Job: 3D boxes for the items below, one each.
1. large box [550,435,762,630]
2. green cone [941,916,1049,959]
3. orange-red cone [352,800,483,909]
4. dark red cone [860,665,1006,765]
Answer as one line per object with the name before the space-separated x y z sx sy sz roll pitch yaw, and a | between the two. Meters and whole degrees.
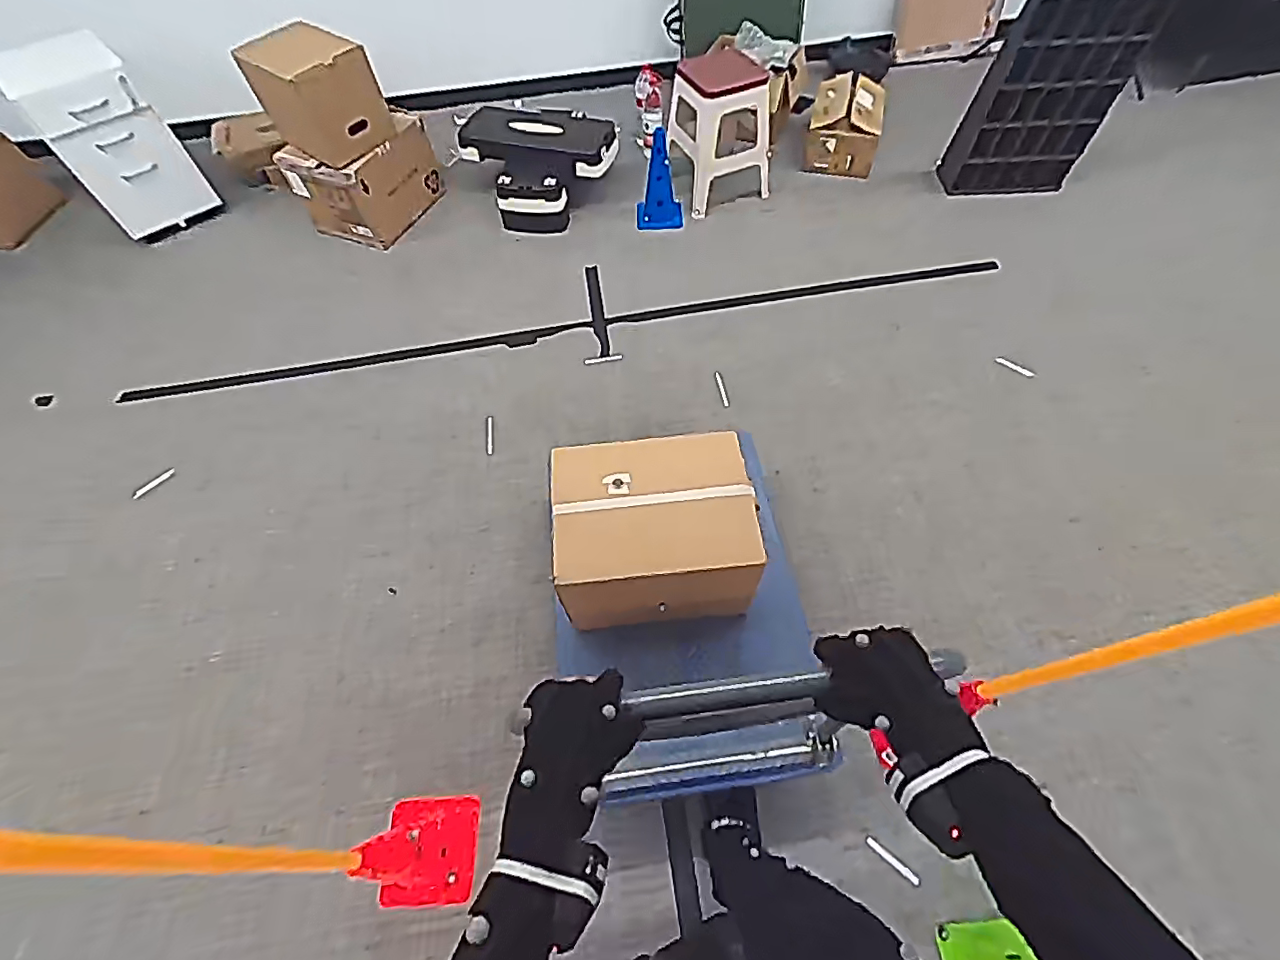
large box | 0.028 0.130 1.226 0.408 0.320 0.320 -7 58 0
green cone | 0.698 0.880 0.890 0.202 0.368 0.200 -5 58 -2
orange-red cone | -0.460 0.730 1.051 0.198 0.360 0.199 -2 56 1
dark red cone | 0.639 0.464 1.133 0.201 0.394 0.202 -8 58 -4
